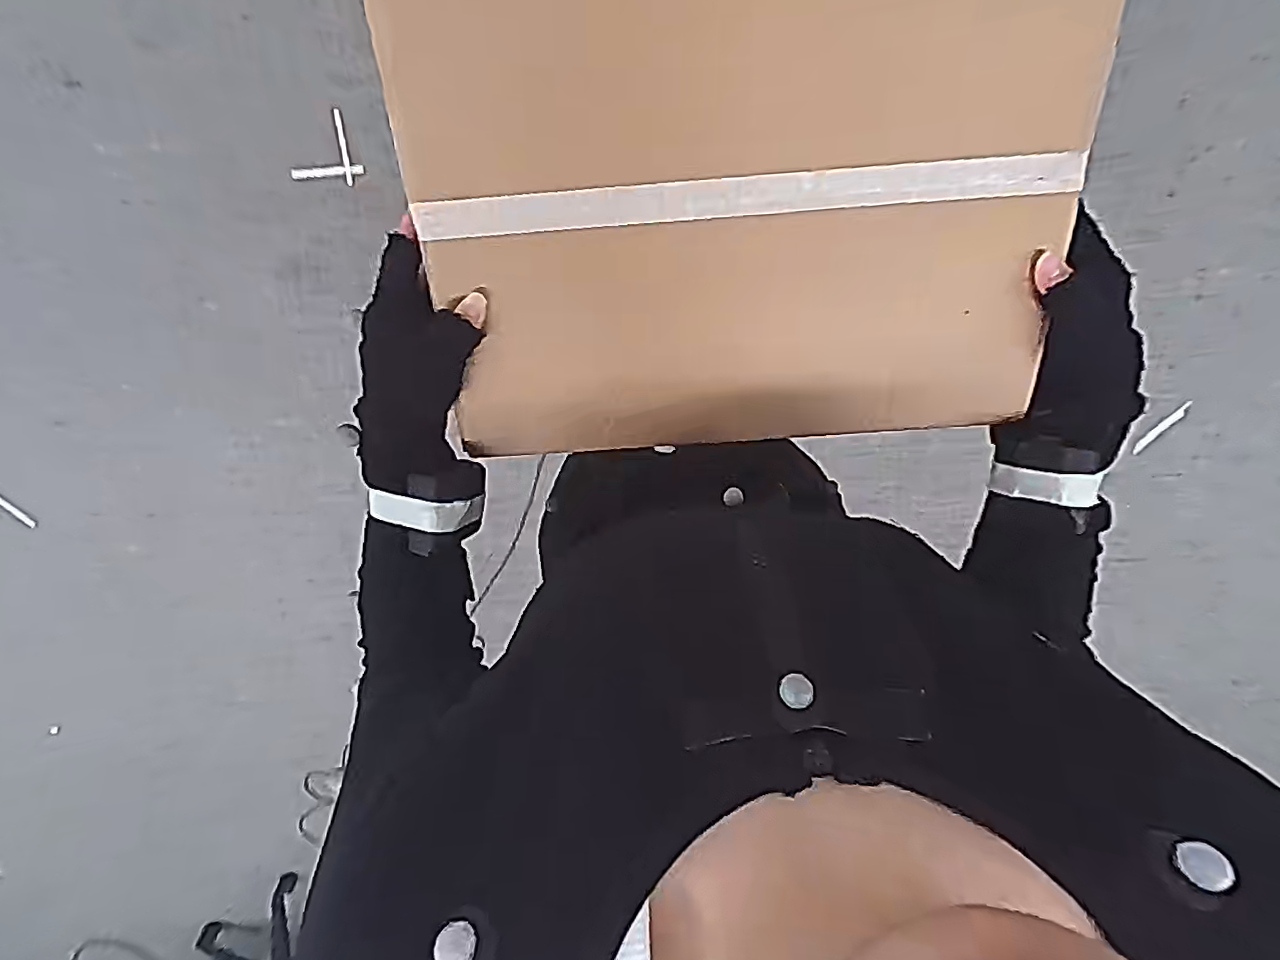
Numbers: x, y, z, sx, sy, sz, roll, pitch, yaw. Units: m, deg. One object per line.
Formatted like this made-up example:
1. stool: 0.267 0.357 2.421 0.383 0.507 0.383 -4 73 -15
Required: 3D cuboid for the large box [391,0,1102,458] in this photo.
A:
1. large box: 0.064 -0.229 0.480 0.408 0.320 0.320 -4 115 0
